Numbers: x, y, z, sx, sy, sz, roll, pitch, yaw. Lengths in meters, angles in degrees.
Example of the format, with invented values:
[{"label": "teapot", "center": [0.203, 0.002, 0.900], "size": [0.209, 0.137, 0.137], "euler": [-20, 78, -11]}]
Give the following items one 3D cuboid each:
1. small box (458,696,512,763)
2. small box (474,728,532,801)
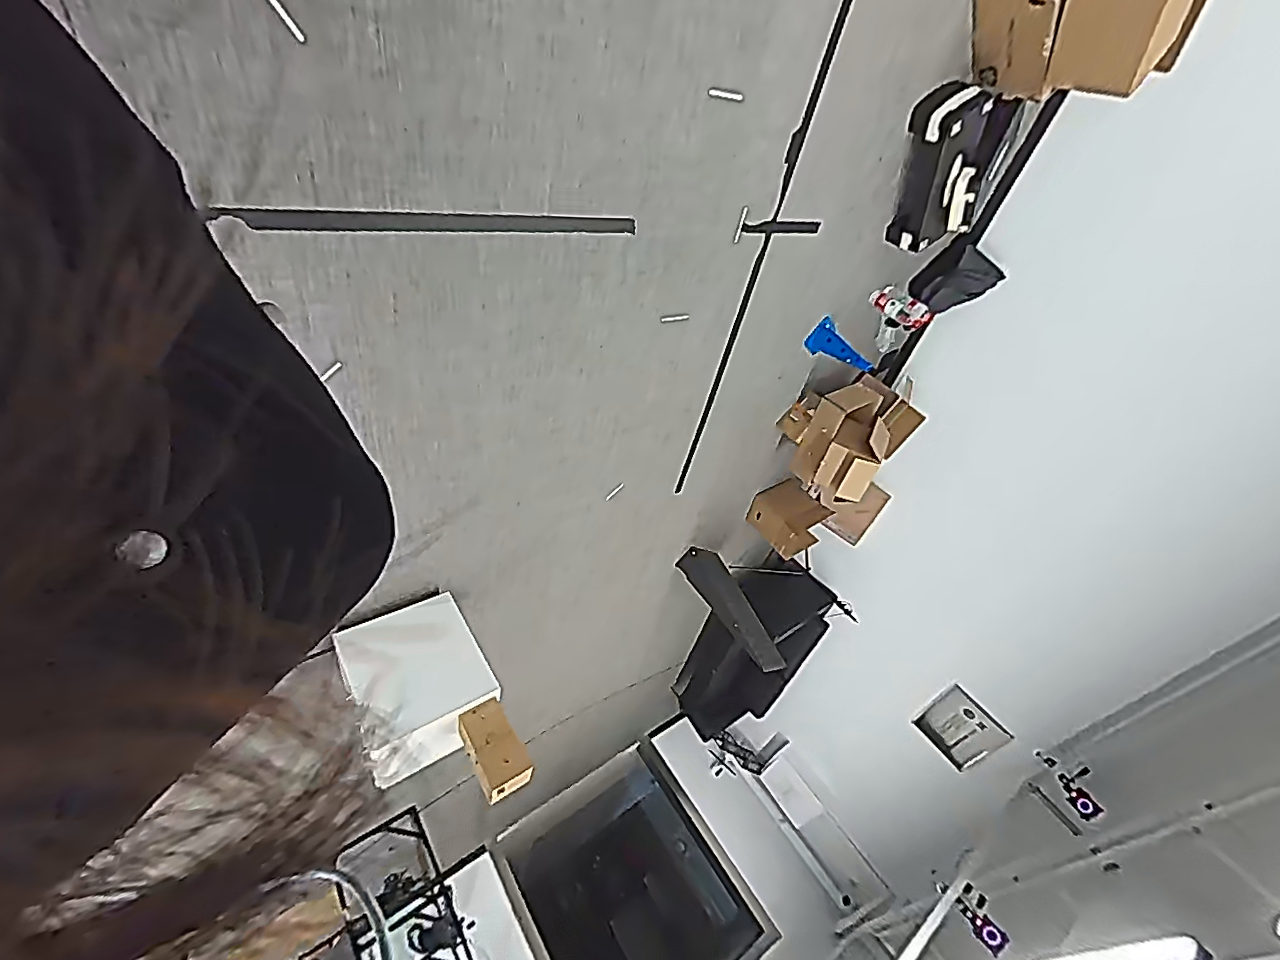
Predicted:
[{"label": "small box", "center": [-0.654, 1.042, 2.271], "size": [0.168, 0.176, 0.179], "euler": [-18, 142, -33]}, {"label": "small box", "center": [-0.559, 1.145, 2.184], "size": [0.179, 0.176, 0.168], "euler": [-18, 143, -34]}]
